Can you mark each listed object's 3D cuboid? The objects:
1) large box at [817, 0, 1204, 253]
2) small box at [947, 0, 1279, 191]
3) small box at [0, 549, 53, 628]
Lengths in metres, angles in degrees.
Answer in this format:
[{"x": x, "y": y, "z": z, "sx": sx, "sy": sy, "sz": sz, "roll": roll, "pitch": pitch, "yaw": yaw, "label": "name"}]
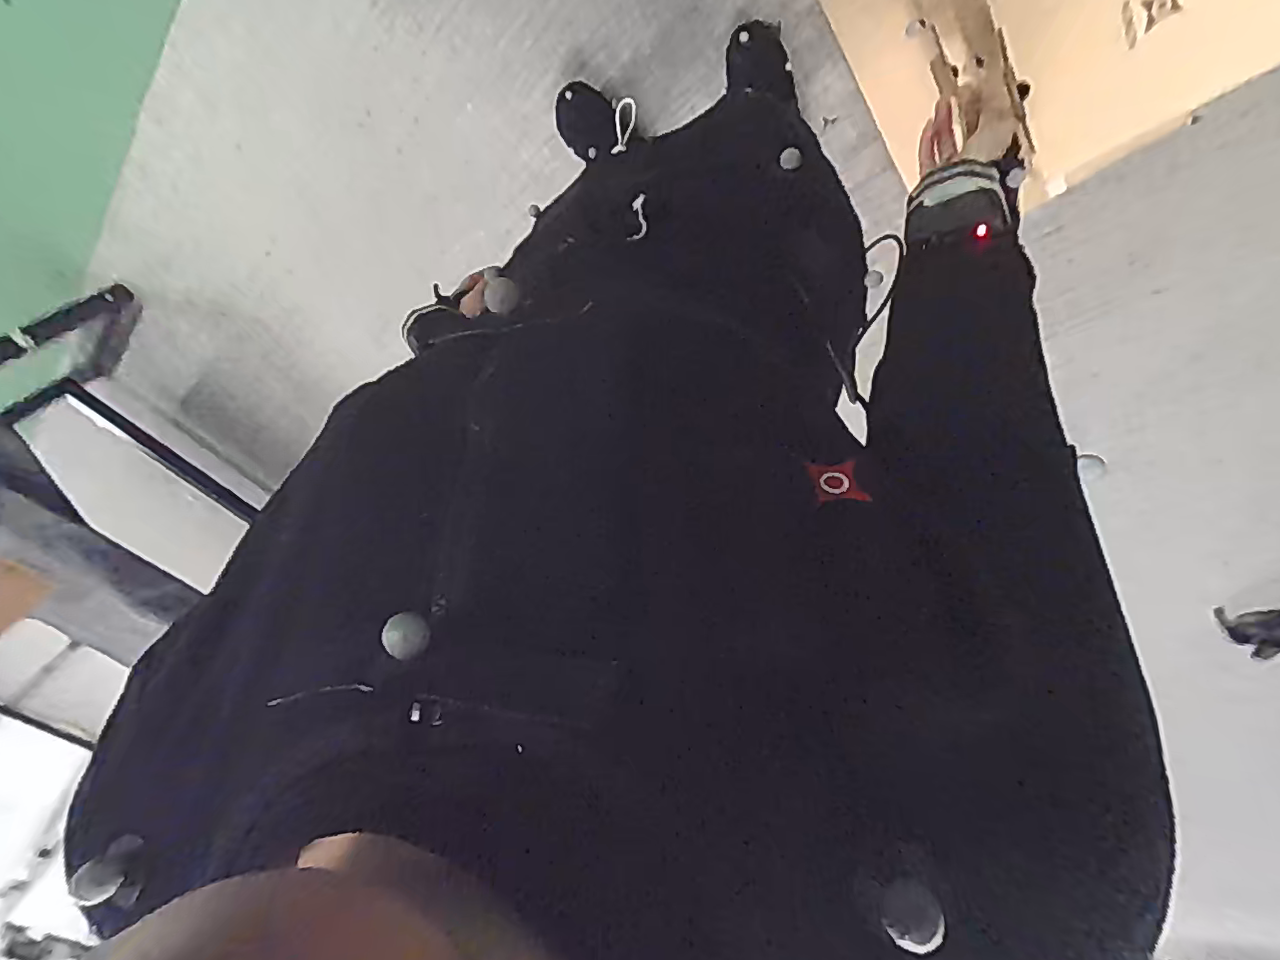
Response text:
[{"x": 0.486, "y": -0.627, "z": 0.768, "sx": 0.320, "sy": 0.320, "sz": 0.408, "roll": -24, "pitch": 123, "yaw": 35, "label": "large box"}, {"x": 0.386, "y": -0.389, "z": 0.449, "sx": 0.179, "sy": 0.176, "sz": 0.168, "roll": -22, "pitch": 124, "yaw": 34, "label": "small box"}, {"x": -1.671, "y": 0.289, "z": 1.377, "sx": 0.179, "sy": 0.176, "sz": 0.168, "roll": -20, "pitch": 122, "yaw": 33, "label": "small box"}]
